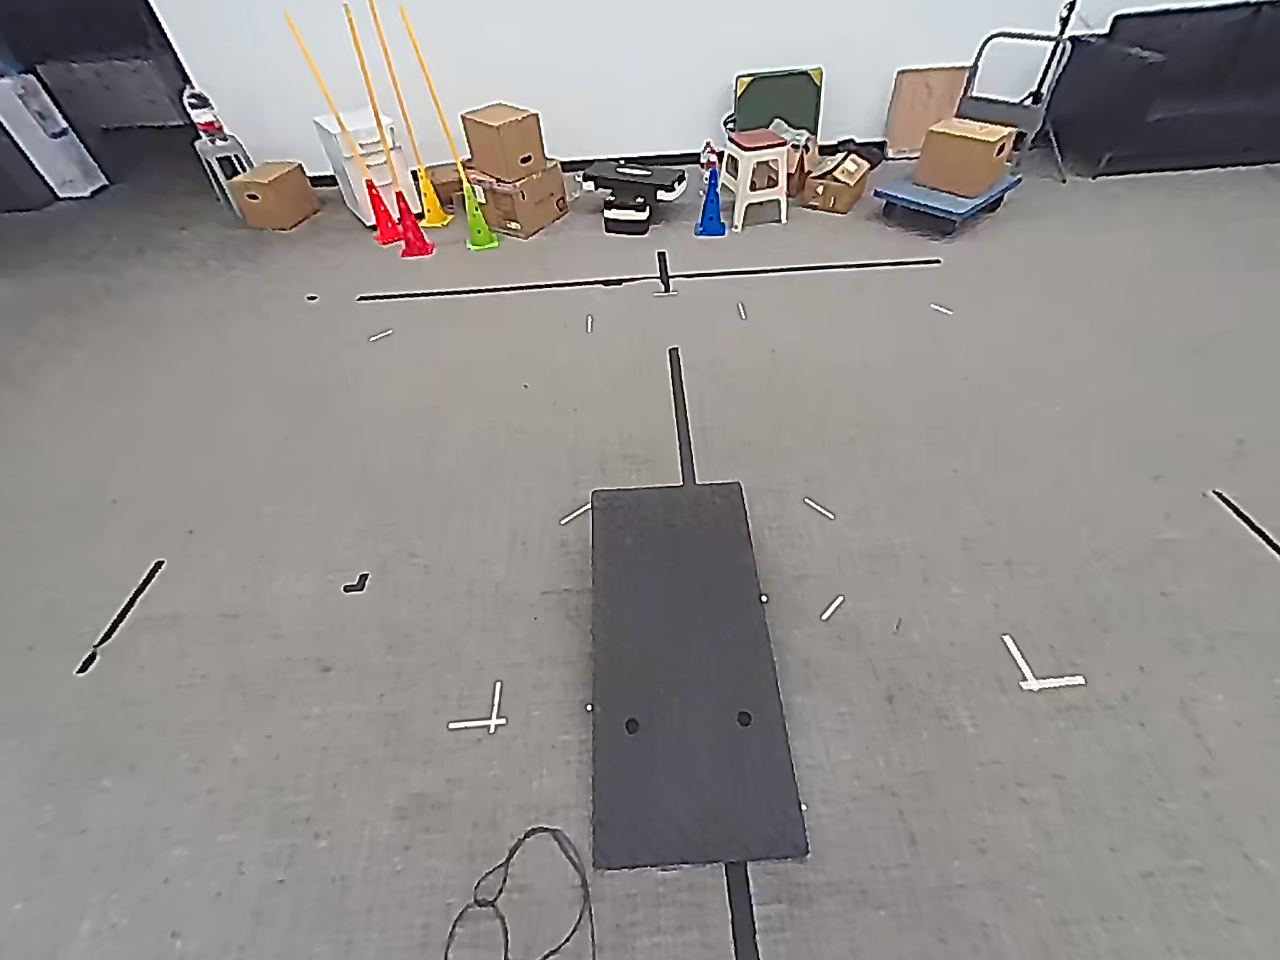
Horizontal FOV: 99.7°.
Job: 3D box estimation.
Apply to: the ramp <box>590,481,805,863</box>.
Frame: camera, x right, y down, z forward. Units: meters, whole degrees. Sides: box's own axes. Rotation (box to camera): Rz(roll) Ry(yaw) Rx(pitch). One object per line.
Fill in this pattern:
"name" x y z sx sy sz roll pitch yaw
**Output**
"ramp" 0.111 0.438 1.499 0.509 0.206 0.991 -4 47 -2
